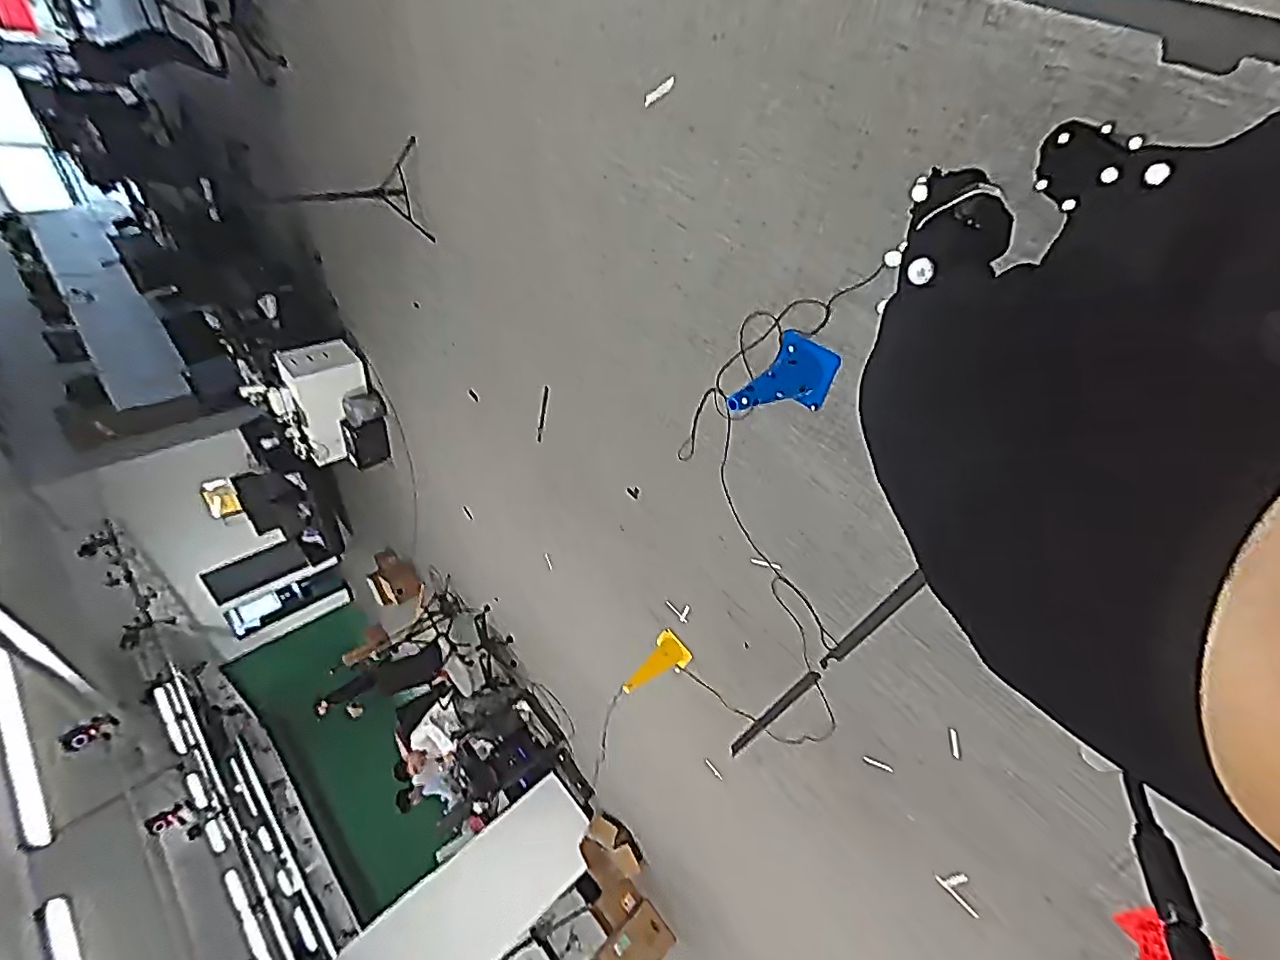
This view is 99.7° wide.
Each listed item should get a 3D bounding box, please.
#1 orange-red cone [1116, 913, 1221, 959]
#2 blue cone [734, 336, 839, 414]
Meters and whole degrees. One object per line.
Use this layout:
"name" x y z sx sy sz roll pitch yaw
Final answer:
"orange-red cone" 1.400 1.401 1.435 0.198 0.360 0.199 40 137 27
"blue cone" 0.394 -0.272 1.581 0.192 0.380 0.193 40 138 28
